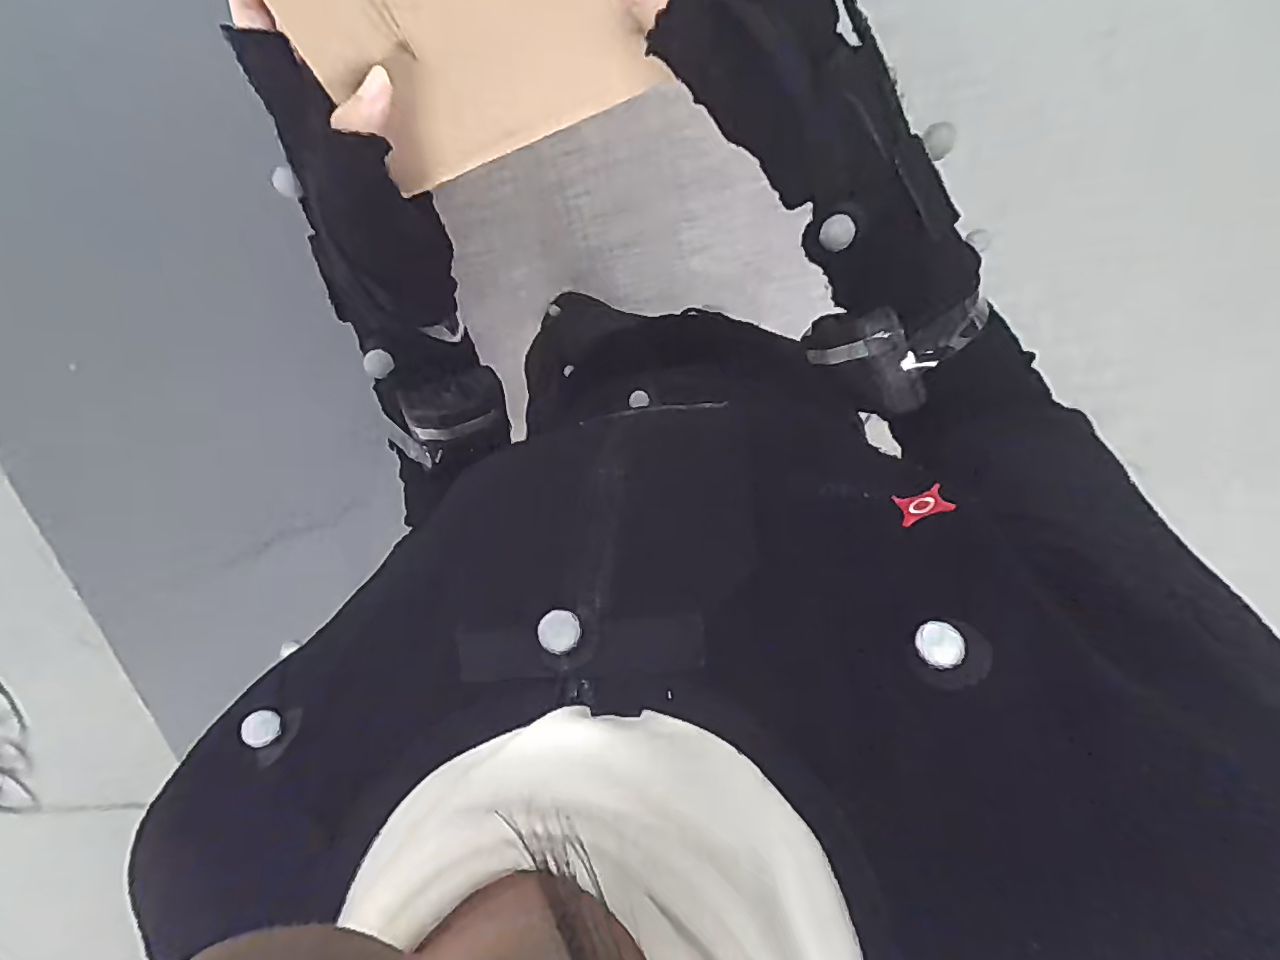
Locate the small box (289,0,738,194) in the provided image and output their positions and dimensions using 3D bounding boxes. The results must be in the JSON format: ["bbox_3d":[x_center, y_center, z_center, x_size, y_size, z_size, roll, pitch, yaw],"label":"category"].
[{"bbox_3d":[-0.064,-0.279,0.254,0.179,0.176,0.168,-12,139,16],"label":"small box"}]
